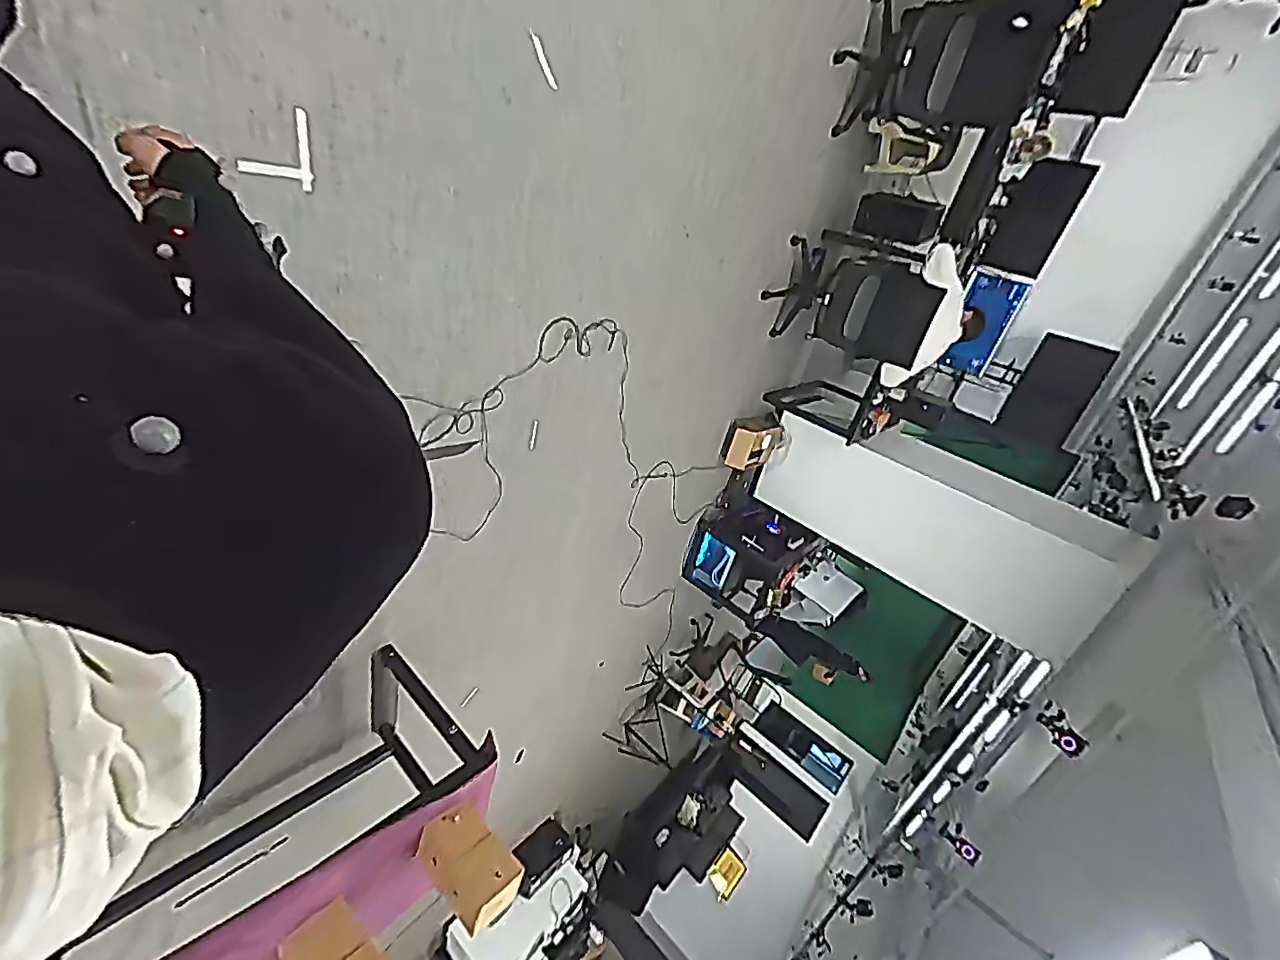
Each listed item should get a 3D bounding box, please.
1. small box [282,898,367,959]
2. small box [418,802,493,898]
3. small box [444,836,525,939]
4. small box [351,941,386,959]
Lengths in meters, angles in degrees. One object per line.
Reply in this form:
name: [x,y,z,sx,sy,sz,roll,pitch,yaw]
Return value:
small box: [-0.916,1.386,1.572,0.179,0.176,0.168,-21,135,-45]
small box: [-0.640,1.266,1.863,0.168,0.176,0.179,-7,122,-53]
small box: [-0.513,1.331,1.781,0.179,0.176,0.168,-10,124,-52]
small box: [-0.783,1.449,1.500,0.179,0.176,0.168,-21,135,-46]
